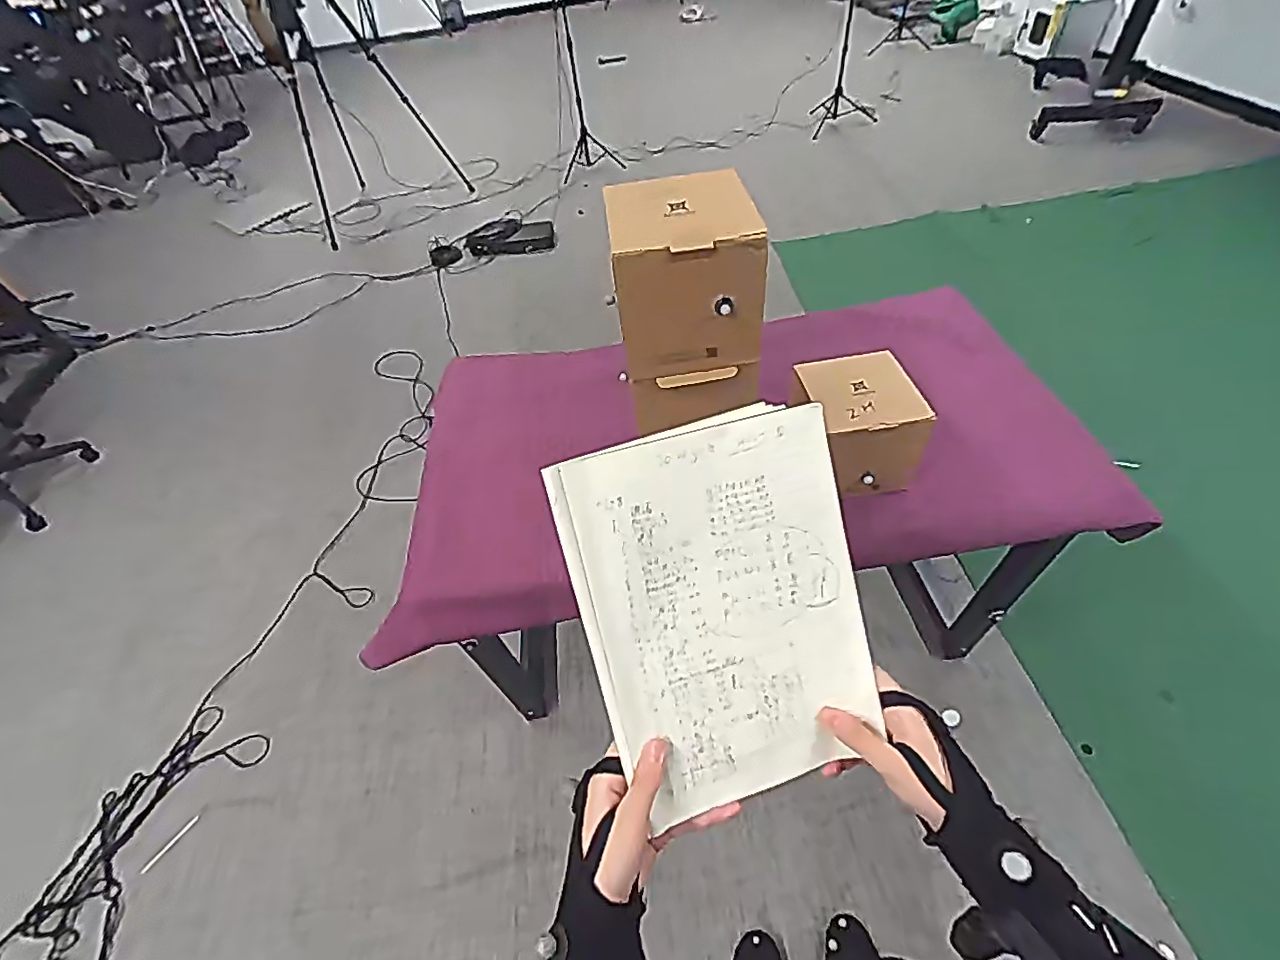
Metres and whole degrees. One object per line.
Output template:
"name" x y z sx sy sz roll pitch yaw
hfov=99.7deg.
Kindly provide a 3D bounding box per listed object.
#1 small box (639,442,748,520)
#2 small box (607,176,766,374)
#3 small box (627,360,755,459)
"small box" 0.086 -0.045 0.931 0.168 0.176 0.179 -8 50 0
"small box" 0.054 -0.247 0.674 0.168 0.176 0.179 -7 49 1
"small box" 0.070 -0.146 0.802 0.168 0.176 0.179 -8 49 1
